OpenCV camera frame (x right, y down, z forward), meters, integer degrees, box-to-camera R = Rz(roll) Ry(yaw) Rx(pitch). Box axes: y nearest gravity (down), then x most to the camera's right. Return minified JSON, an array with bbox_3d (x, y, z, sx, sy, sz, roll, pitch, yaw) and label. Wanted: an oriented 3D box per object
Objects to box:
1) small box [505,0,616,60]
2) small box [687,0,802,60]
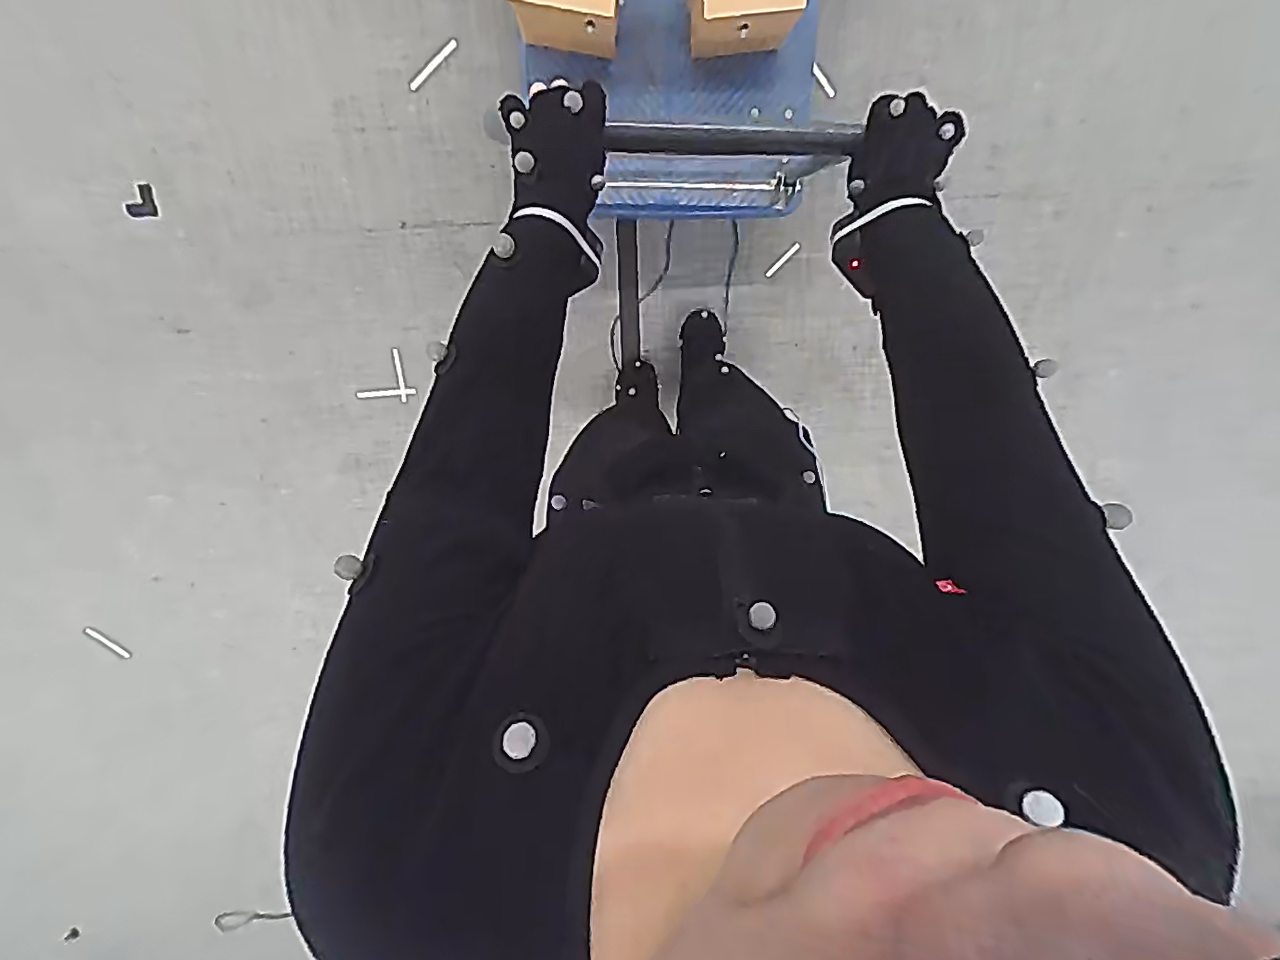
[{"bbox_3d":[-0.130,-0.867,0.938,0.179,0.176,0.168,5,109,-6],"label":"small box"},{"bbox_3d":[0.175,-0.870,0.950,0.179,0.176,0.168,-6,110,0],"label":"small box"}]
